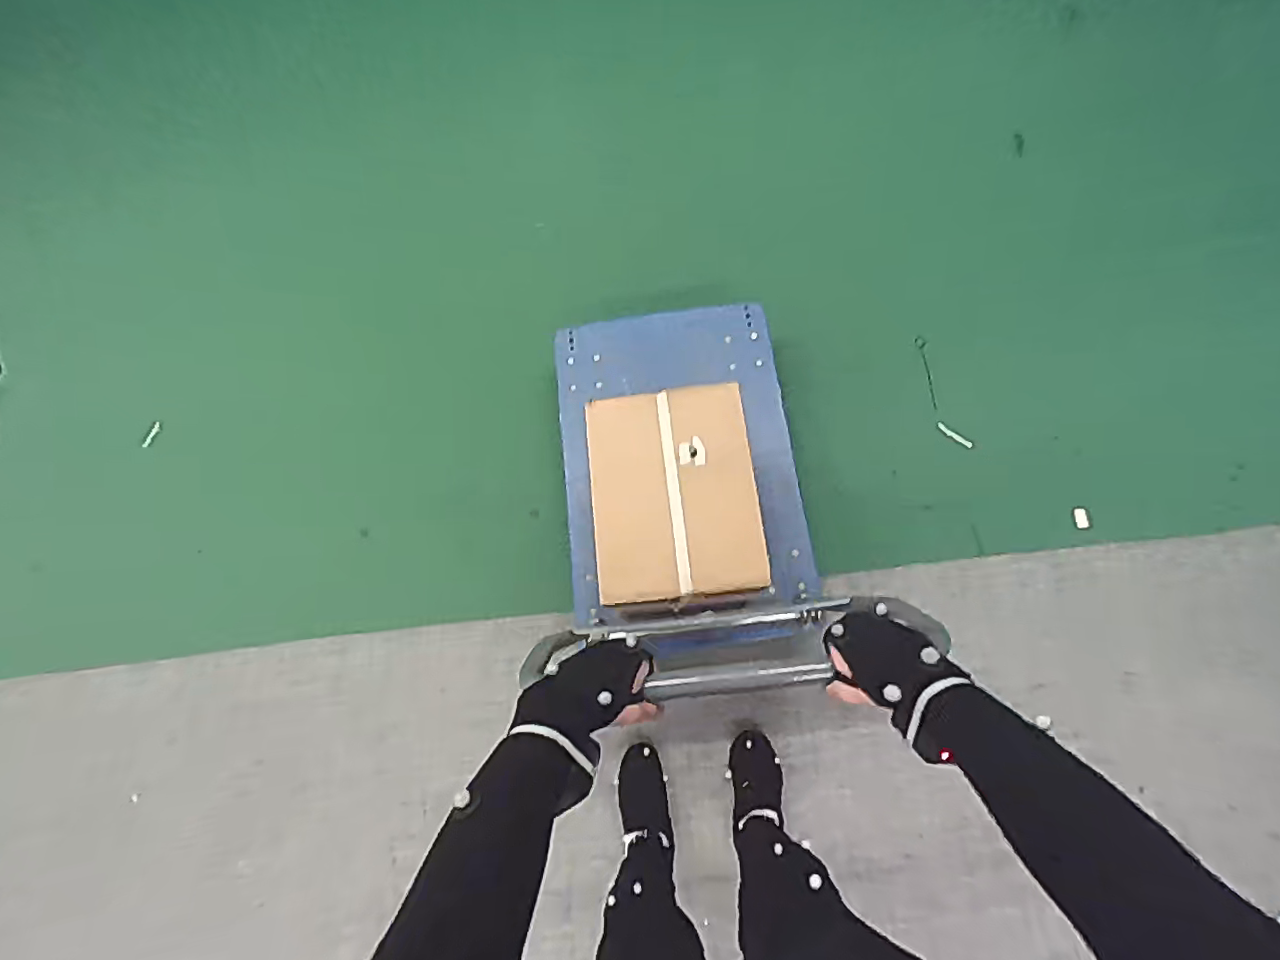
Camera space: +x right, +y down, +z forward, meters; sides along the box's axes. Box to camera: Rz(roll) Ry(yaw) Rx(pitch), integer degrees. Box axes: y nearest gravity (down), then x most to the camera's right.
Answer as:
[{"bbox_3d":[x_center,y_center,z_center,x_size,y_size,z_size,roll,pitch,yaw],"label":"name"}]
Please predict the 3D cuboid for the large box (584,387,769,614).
[{"bbox_3d":[0.072,0.063,1.176,0.320,0.320,0.408,-7,73,2],"label":"large box"}]
